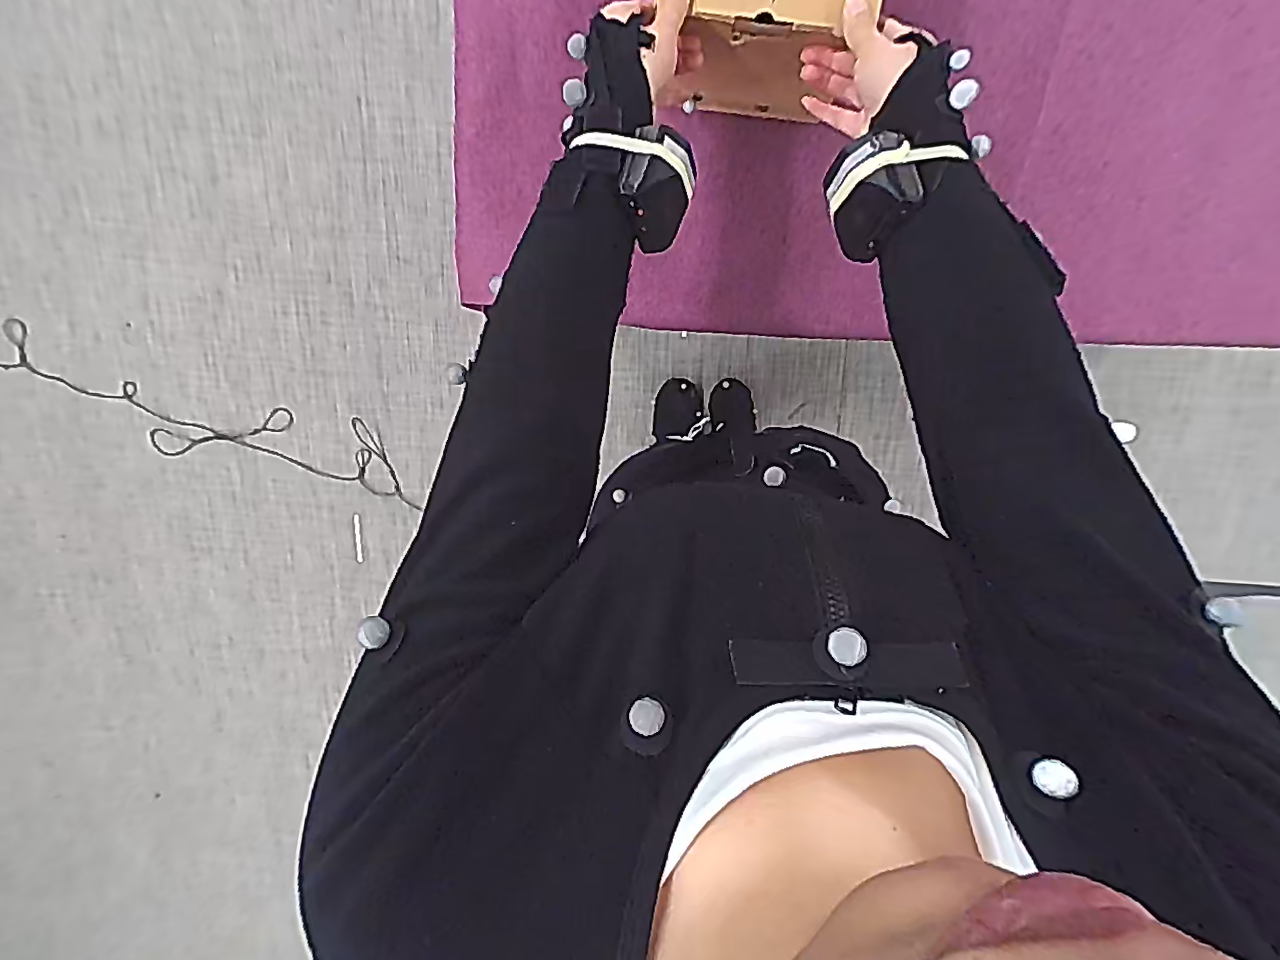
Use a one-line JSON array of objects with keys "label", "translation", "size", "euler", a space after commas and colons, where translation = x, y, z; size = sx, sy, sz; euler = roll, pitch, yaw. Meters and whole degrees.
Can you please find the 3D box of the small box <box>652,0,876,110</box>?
[{"label": "small box", "translation": [0.106, -0.444, 0.452], "size": [0.168, 0.176, 0.179], "euler": [8, 104, 1]}]
